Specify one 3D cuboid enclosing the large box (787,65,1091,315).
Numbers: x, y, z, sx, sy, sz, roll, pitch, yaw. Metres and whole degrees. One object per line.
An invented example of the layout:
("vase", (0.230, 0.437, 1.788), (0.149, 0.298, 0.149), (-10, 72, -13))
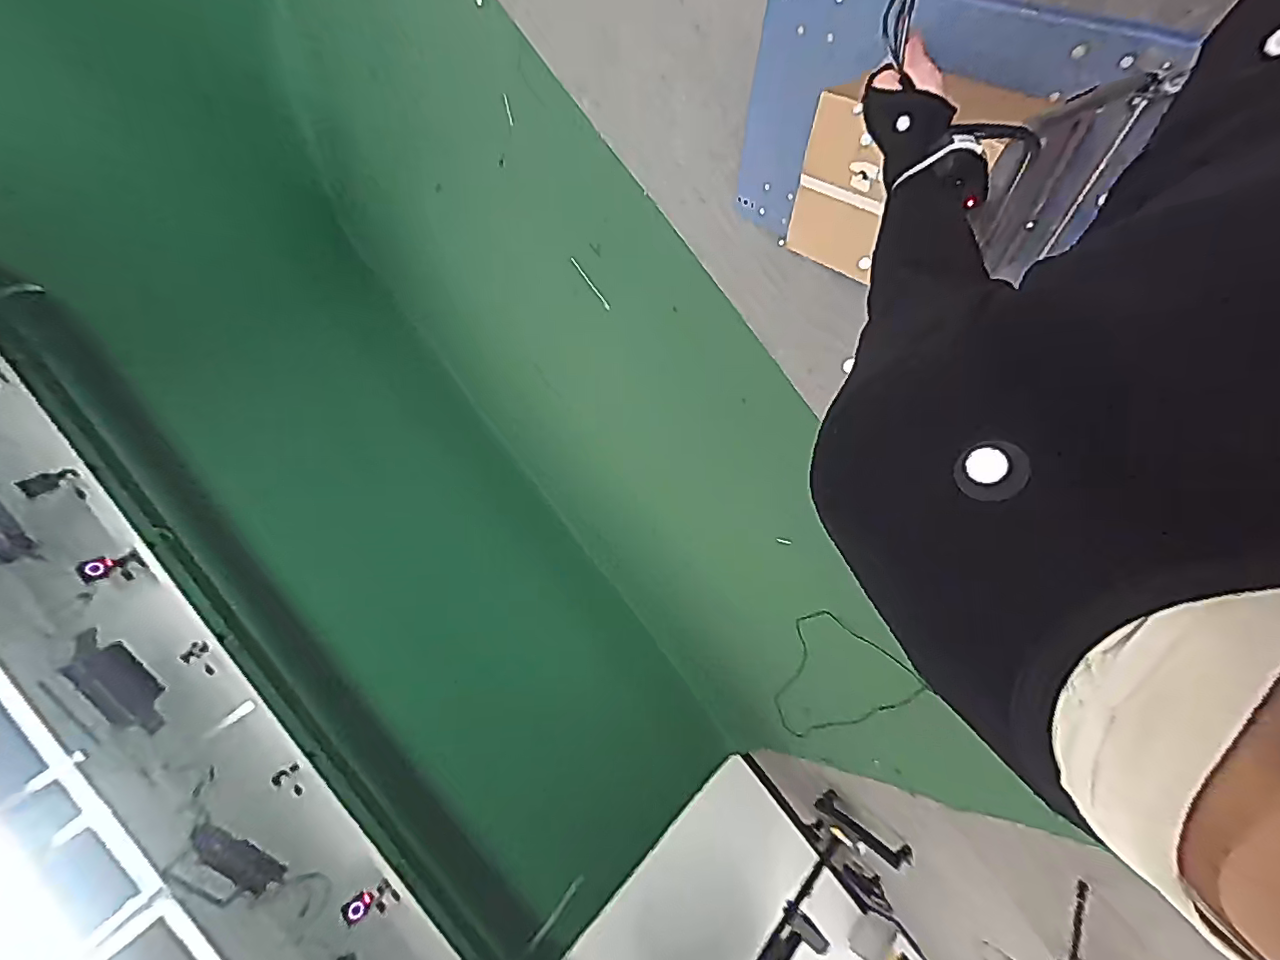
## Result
("large box", (0.592, -0.615, 1.131), (0.408, 0.320, 0.320), (39, 149, 26))
